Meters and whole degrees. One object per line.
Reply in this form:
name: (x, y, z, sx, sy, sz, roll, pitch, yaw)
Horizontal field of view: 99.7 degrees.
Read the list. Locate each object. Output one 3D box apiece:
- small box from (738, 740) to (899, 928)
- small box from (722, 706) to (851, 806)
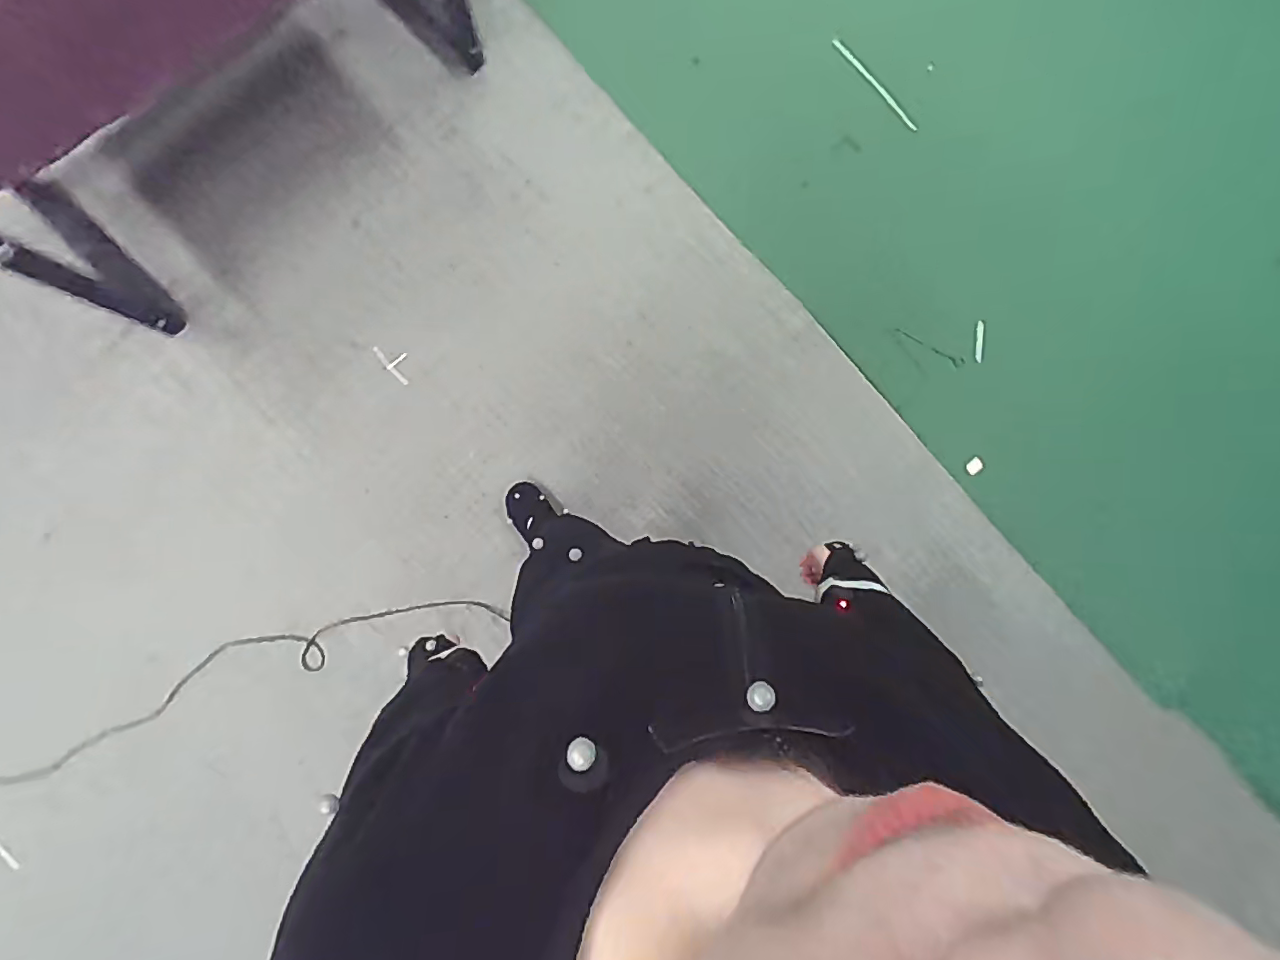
small box: (0.298, 0.598, 0.940, 0.168, 0.176, 0.179, -40, 89, -4)
small box: (0.285, 0.603, 1.103, 0.179, 0.176, 0.168, -40, 91, -4)
